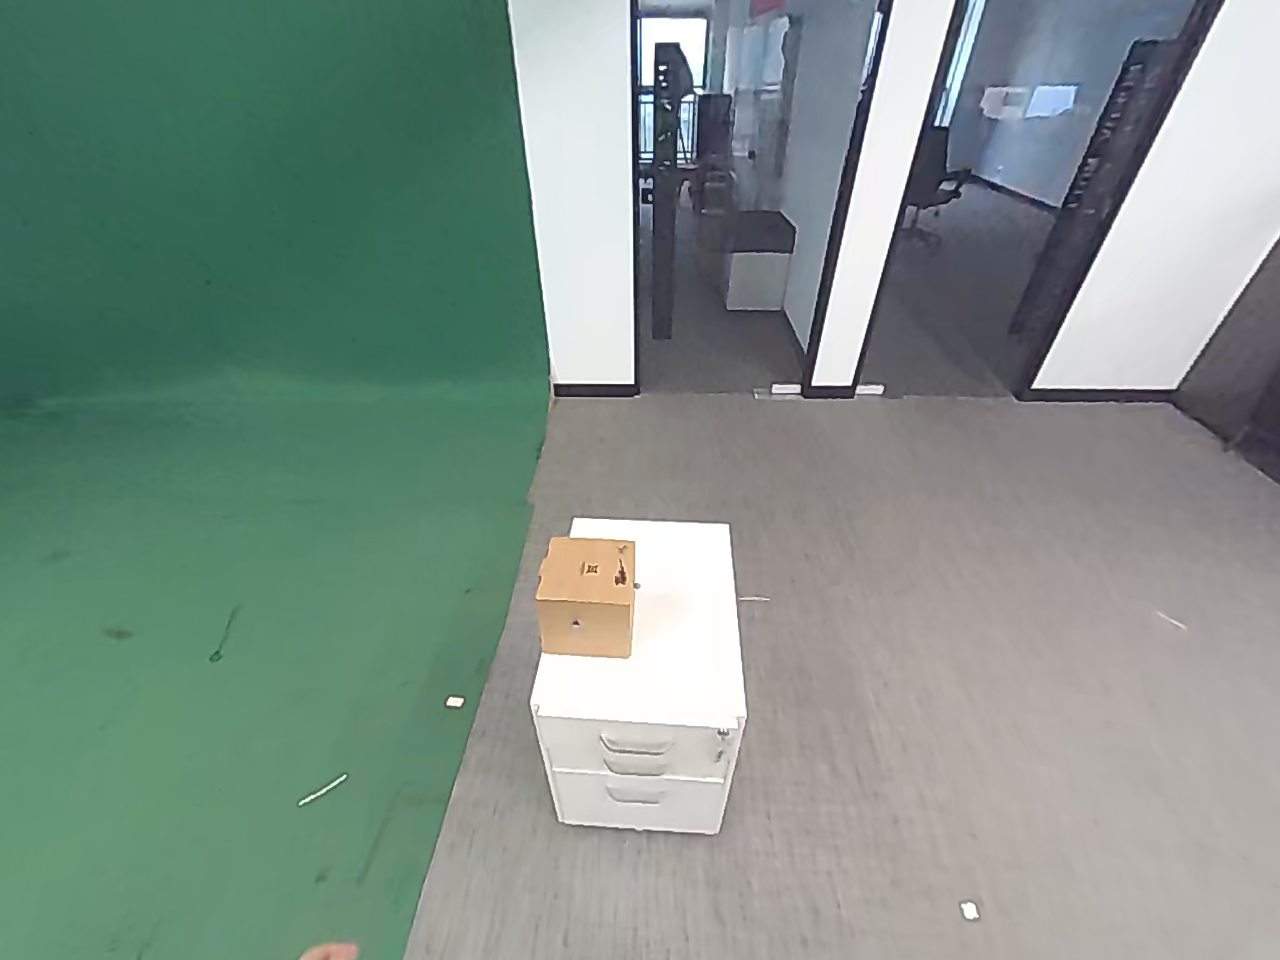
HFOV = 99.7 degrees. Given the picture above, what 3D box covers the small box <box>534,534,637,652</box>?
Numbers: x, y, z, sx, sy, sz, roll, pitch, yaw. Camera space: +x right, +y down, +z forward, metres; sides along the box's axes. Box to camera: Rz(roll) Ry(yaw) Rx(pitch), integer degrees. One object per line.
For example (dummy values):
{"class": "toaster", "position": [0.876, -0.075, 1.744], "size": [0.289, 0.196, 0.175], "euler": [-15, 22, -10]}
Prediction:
{"class": "small box", "position": [-0.099, 0.225, 1.074], "size": [0.179, 0.176, 0.168], "euler": [2, 39, 2]}
